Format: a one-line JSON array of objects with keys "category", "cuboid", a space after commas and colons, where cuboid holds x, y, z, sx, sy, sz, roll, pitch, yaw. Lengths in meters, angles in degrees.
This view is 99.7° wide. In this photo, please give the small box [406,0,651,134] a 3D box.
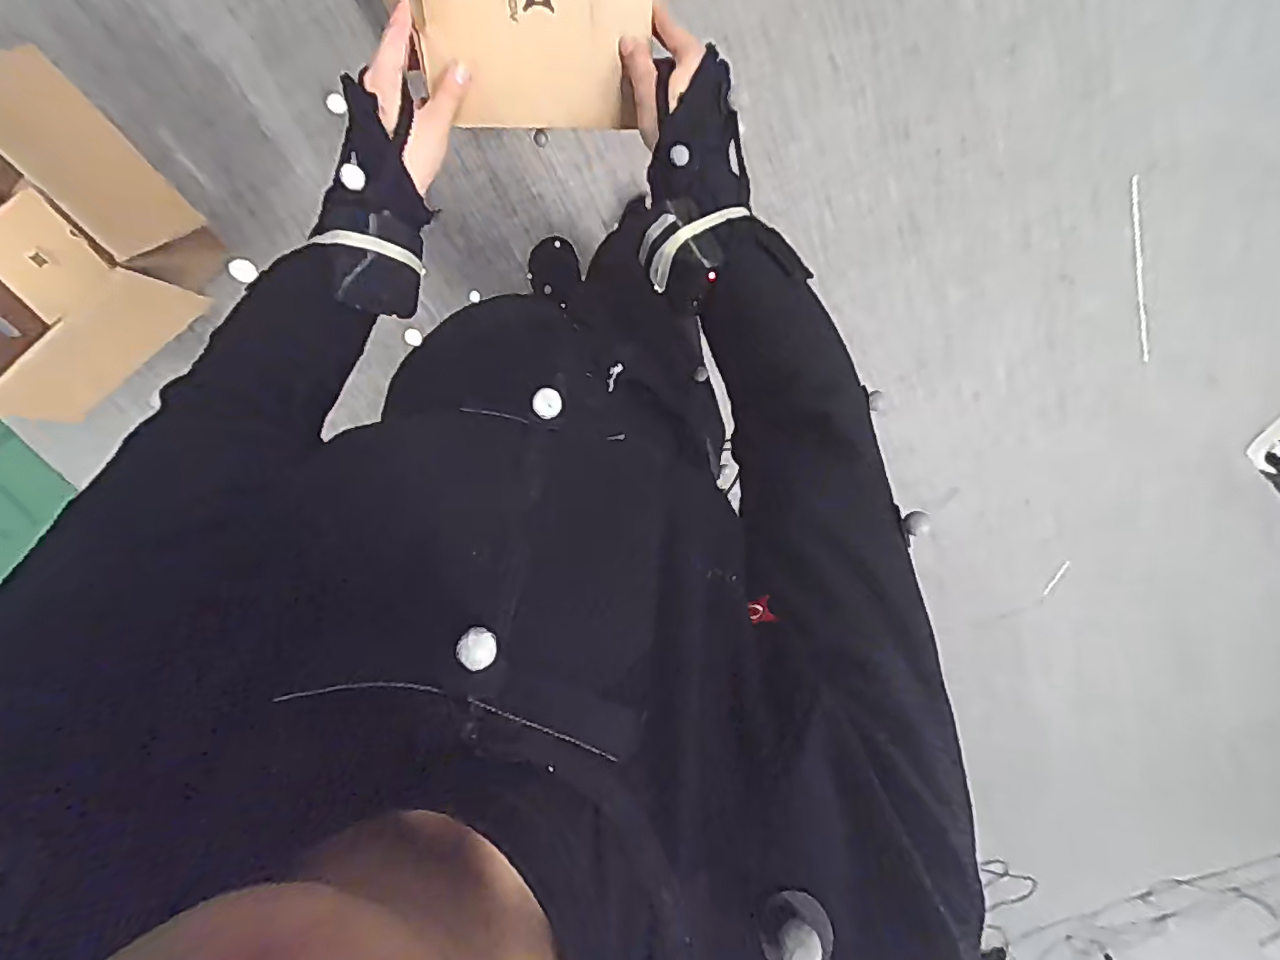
[{"category": "small box", "cuboid": [-0.086, -0.387, 0.448, 0.179, 0.176, 0.168, -4, 126, -6]}]
